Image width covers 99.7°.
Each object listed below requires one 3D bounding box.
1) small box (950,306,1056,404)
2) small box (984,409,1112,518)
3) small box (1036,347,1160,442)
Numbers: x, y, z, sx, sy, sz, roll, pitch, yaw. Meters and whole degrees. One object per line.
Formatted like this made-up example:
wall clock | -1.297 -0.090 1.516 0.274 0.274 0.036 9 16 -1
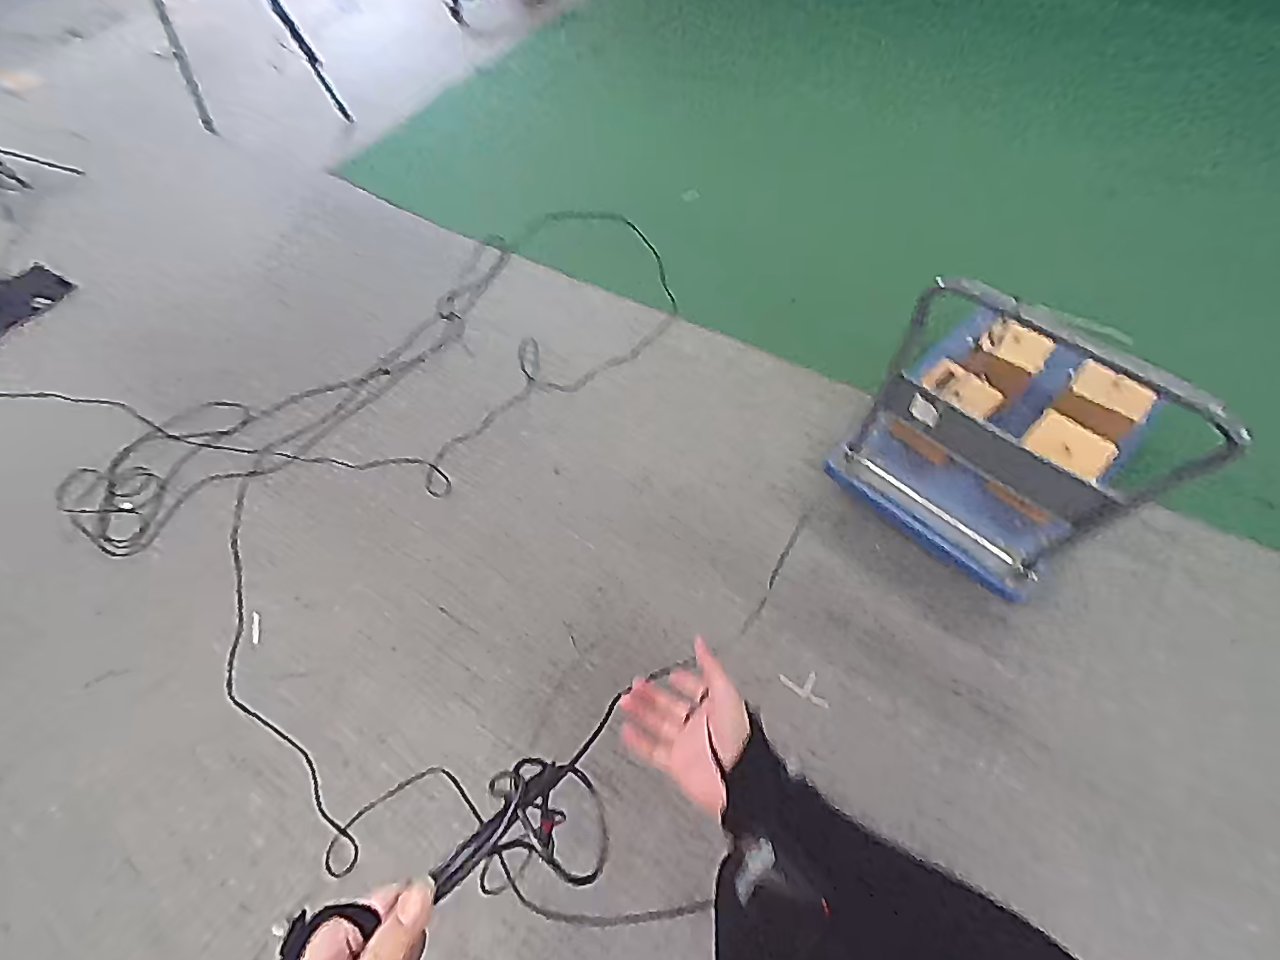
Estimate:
small box | 1.017 -0.349 1.533 0.168 0.176 0.179 37 70 22
small box | 1.013 -0.038 1.359 0.179 0.176 0.168 -41 65 -17
small box | 1.205 -0.212 1.437 0.168 0.176 0.179 36 71 23
